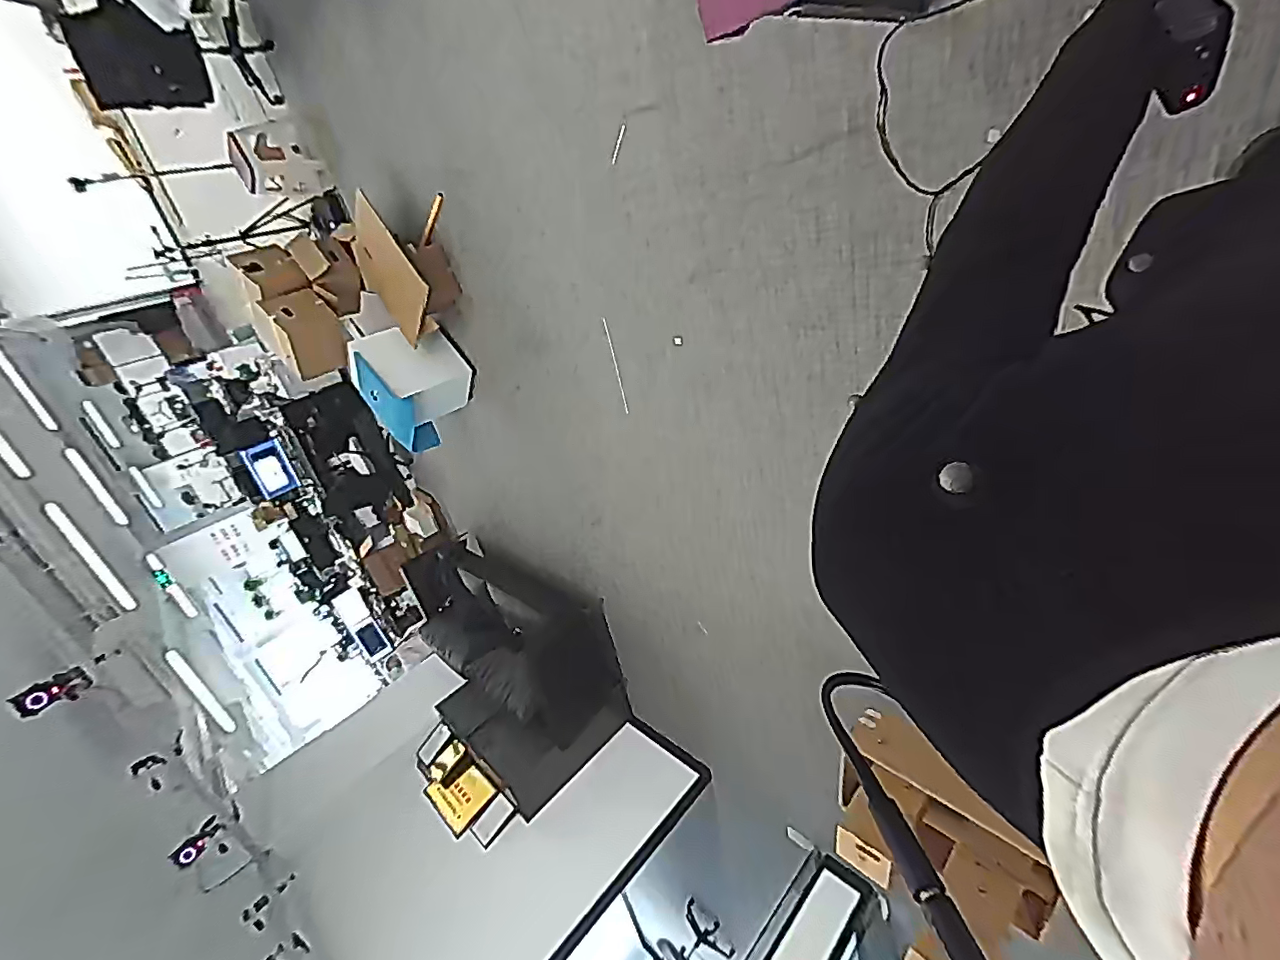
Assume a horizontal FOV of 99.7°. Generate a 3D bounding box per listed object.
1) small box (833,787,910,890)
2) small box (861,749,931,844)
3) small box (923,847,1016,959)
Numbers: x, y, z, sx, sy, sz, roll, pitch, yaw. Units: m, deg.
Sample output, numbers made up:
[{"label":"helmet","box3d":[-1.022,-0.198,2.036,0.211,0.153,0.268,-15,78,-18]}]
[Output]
[{"label":"small box","box3d":[0.722,1.107,1.685,0.168,0.176,0.179,20,132,41]},{"label":"small box","box3d":[0.837,1.033,1.778,0.168,0.176,0.179,20,131,41]},{"label":"small box","box3d":[0.915,1.175,1.500,0.168,0.176,0.179,22,132,41]}]
